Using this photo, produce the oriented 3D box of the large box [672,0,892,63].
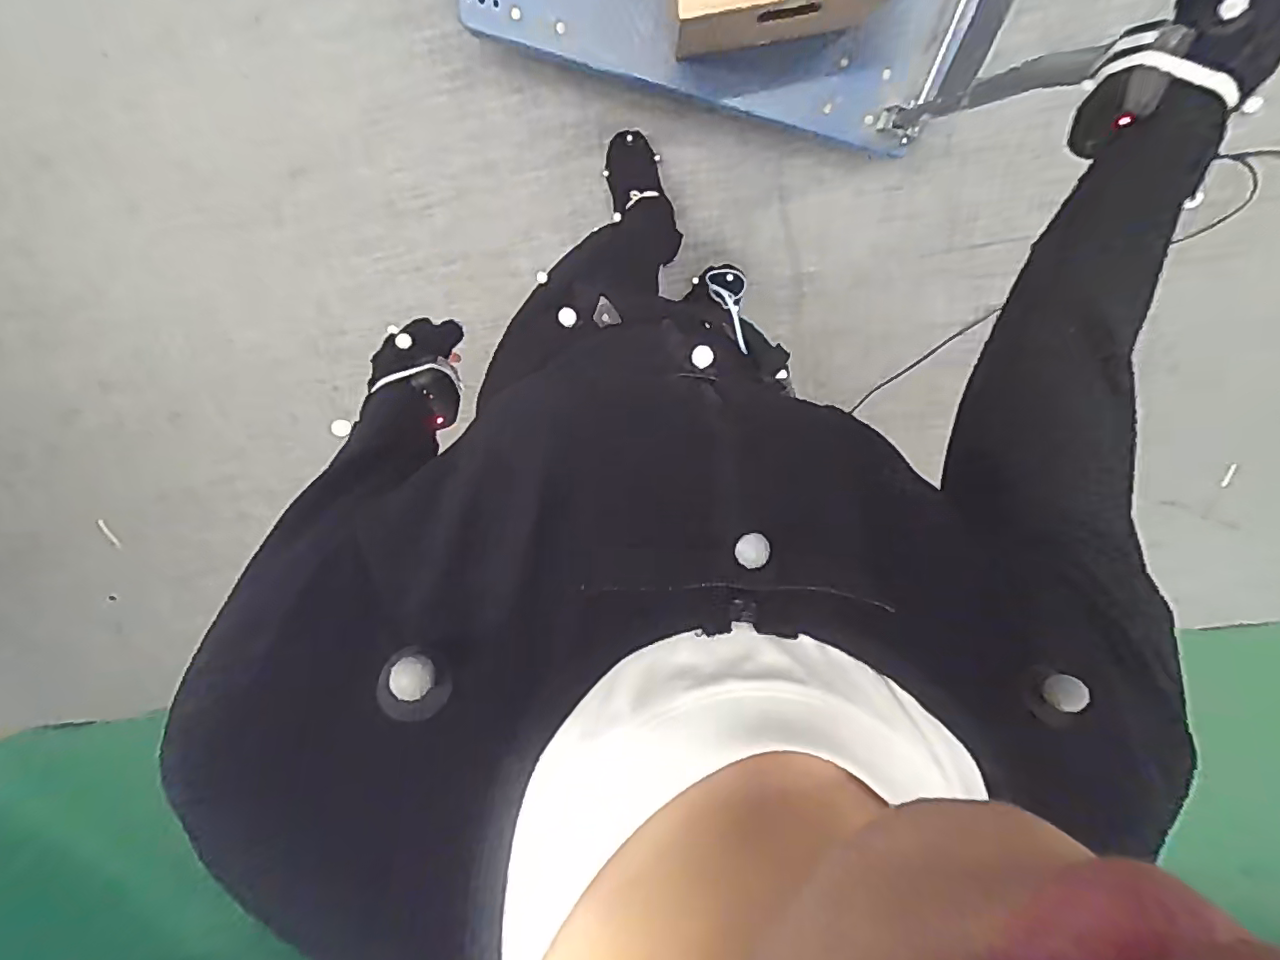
[{"bbox_3d":[0.183,-0.863,0.734,0.320,0.320,0.408,-6,120,7],"label":"large box"}]
